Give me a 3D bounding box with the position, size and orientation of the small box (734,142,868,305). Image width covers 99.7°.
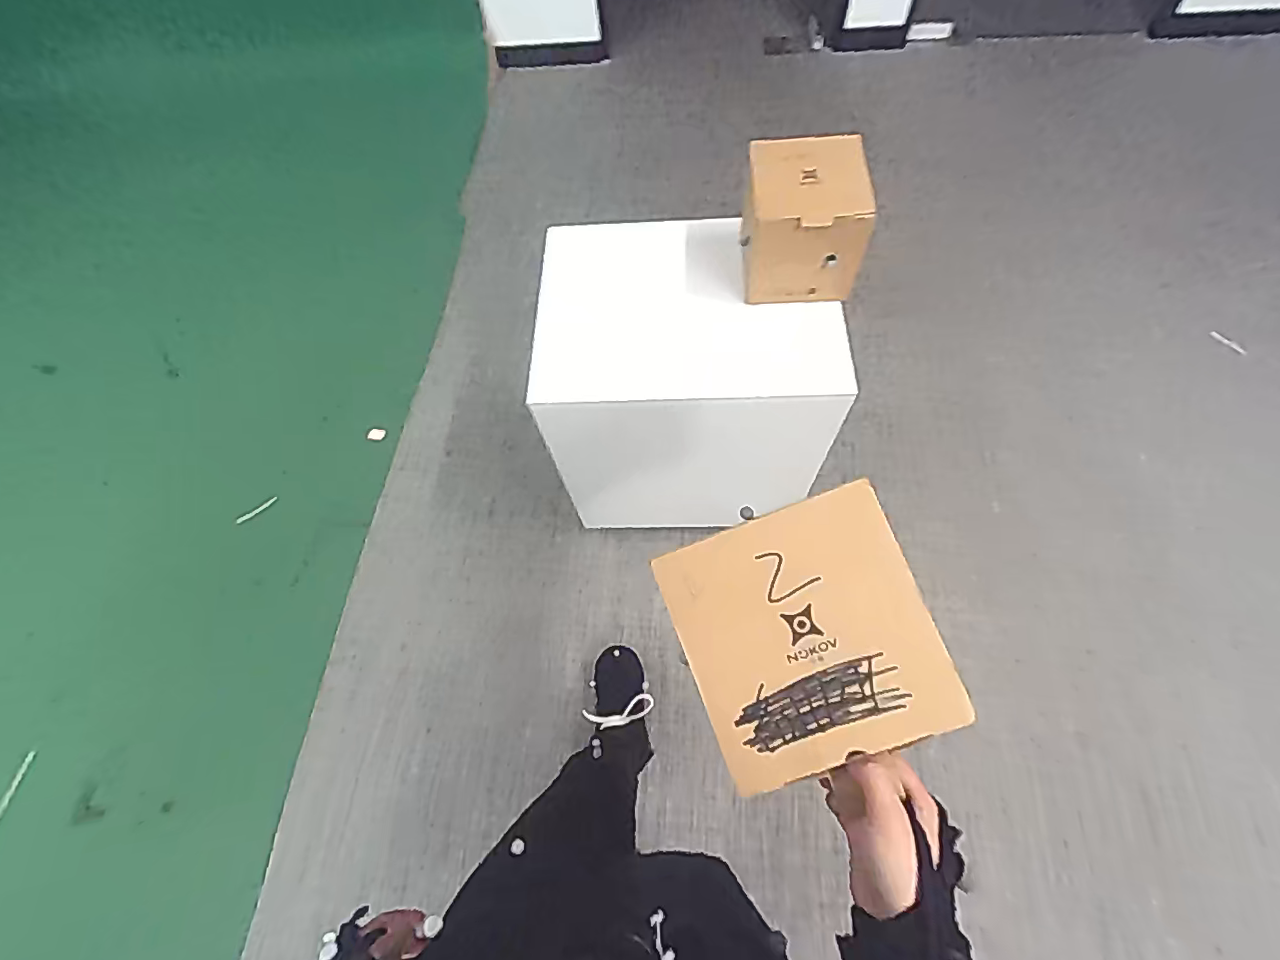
[{"bbox_3d":[0.242,-0.395,0.856,0.168,0.176,0.179,-1,64,3],"label":"small box"}]
